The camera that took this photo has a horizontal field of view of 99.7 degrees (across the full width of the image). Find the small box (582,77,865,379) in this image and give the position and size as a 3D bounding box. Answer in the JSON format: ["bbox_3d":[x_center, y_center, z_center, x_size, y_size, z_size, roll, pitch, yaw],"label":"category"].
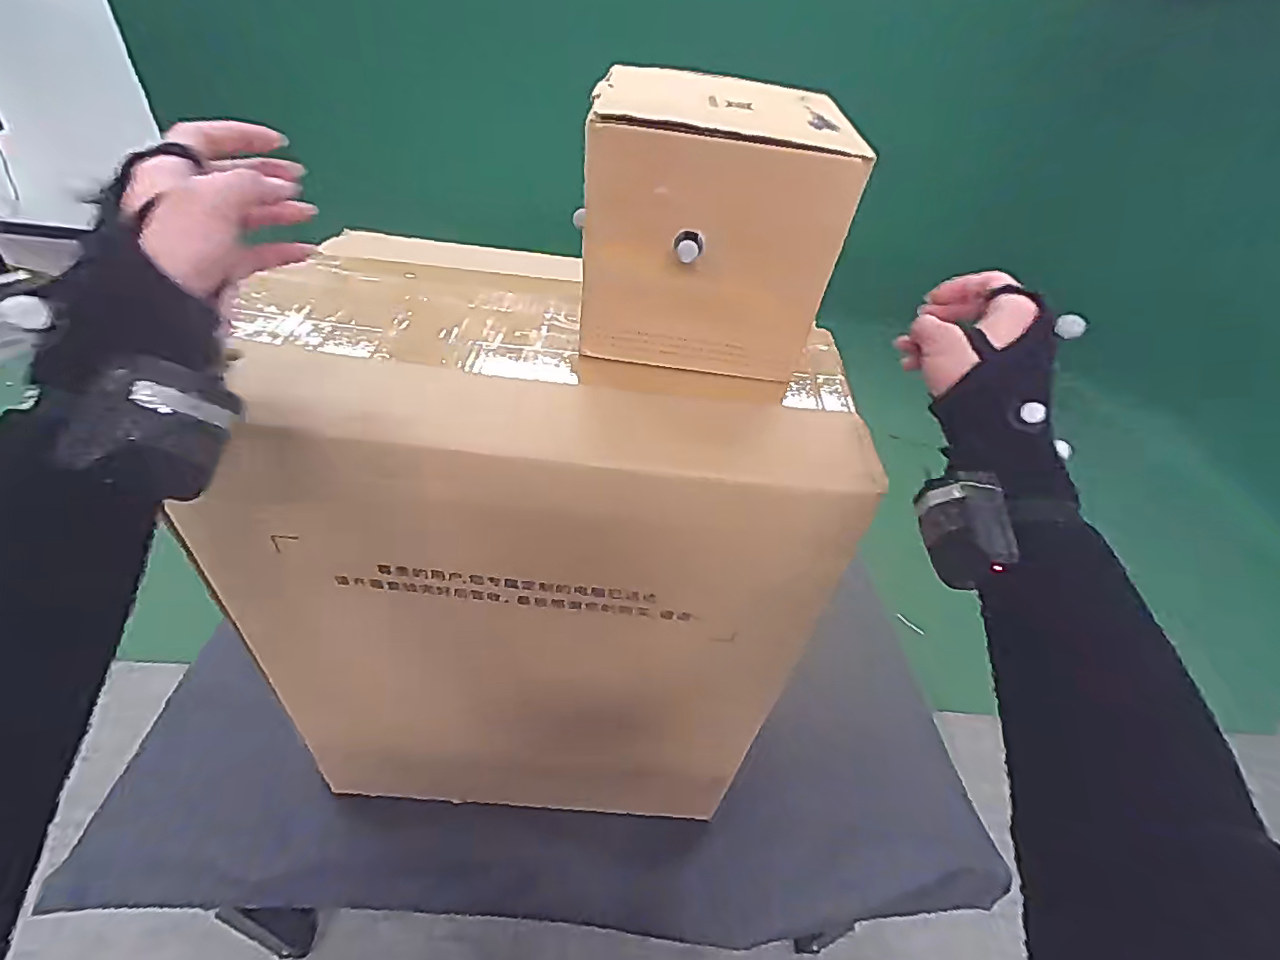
[{"bbox_3d":[0.049,-0.200,0.436,0.179,0.176,0.168,6,46,-2],"label":"small box"}]
